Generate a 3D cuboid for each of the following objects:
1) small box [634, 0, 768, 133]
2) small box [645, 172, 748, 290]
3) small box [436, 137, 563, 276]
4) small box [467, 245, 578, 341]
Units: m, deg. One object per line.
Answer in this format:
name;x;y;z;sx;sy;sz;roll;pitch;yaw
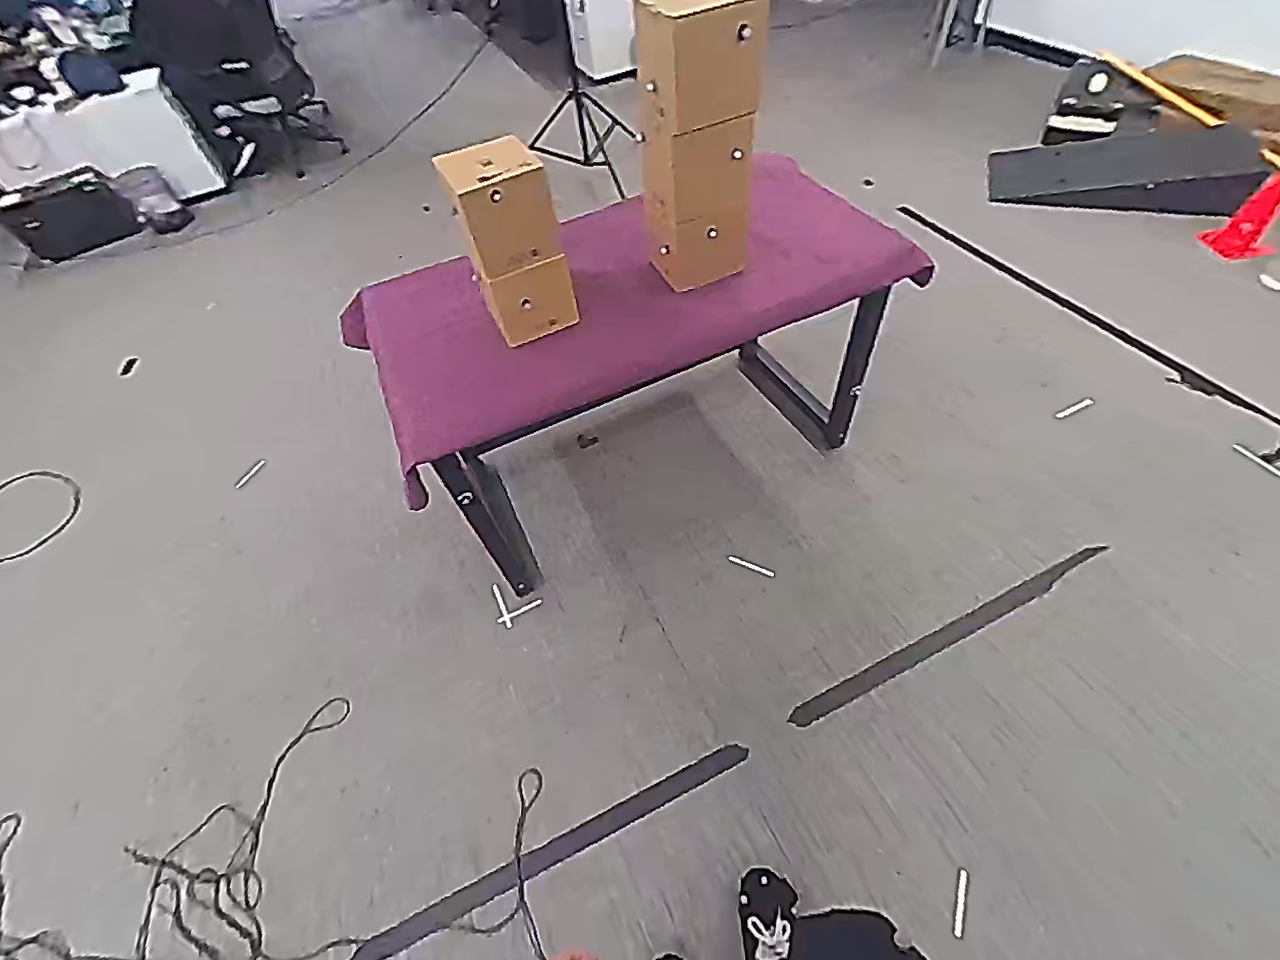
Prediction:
small box;0.105;-0.757;0.964;0.179;0.176;0.168;-23;54;-9
small box;0.128;-0.562;1.229;0.179;0.176;0.168;-22;55;-10
small box;-0.268;-0.527;1.049;0.168;0.176;0.179;-27;54;-11
small box;-0.249;-0.425;1.176;0.168;0.176;0.179;-25;54;-11
